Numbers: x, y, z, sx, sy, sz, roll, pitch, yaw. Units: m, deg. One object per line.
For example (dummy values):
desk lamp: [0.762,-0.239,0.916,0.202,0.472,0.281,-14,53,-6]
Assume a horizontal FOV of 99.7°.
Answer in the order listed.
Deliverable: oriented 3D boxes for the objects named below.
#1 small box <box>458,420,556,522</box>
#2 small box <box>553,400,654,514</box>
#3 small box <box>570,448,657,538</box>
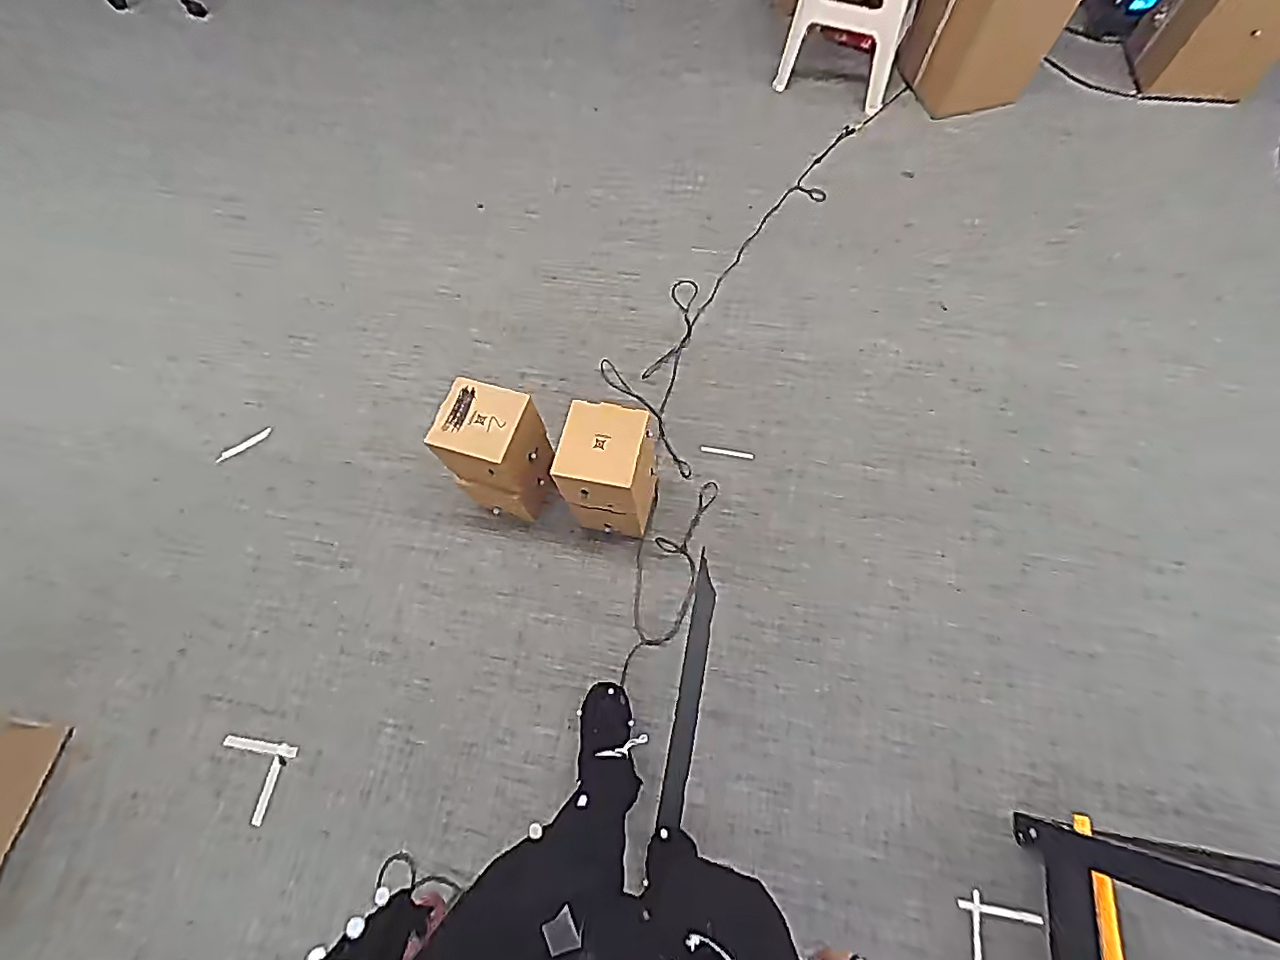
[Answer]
small box: [-0.314,-0.018,1.331,0.168,0.176,0.179,15,70,10]
small box: [-0.068,-0.043,1.150,0.168,0.176,0.179,10,67,9]
small box: [-0.054,0.021,1.299,0.168,0.176,0.179,10,69,9]
